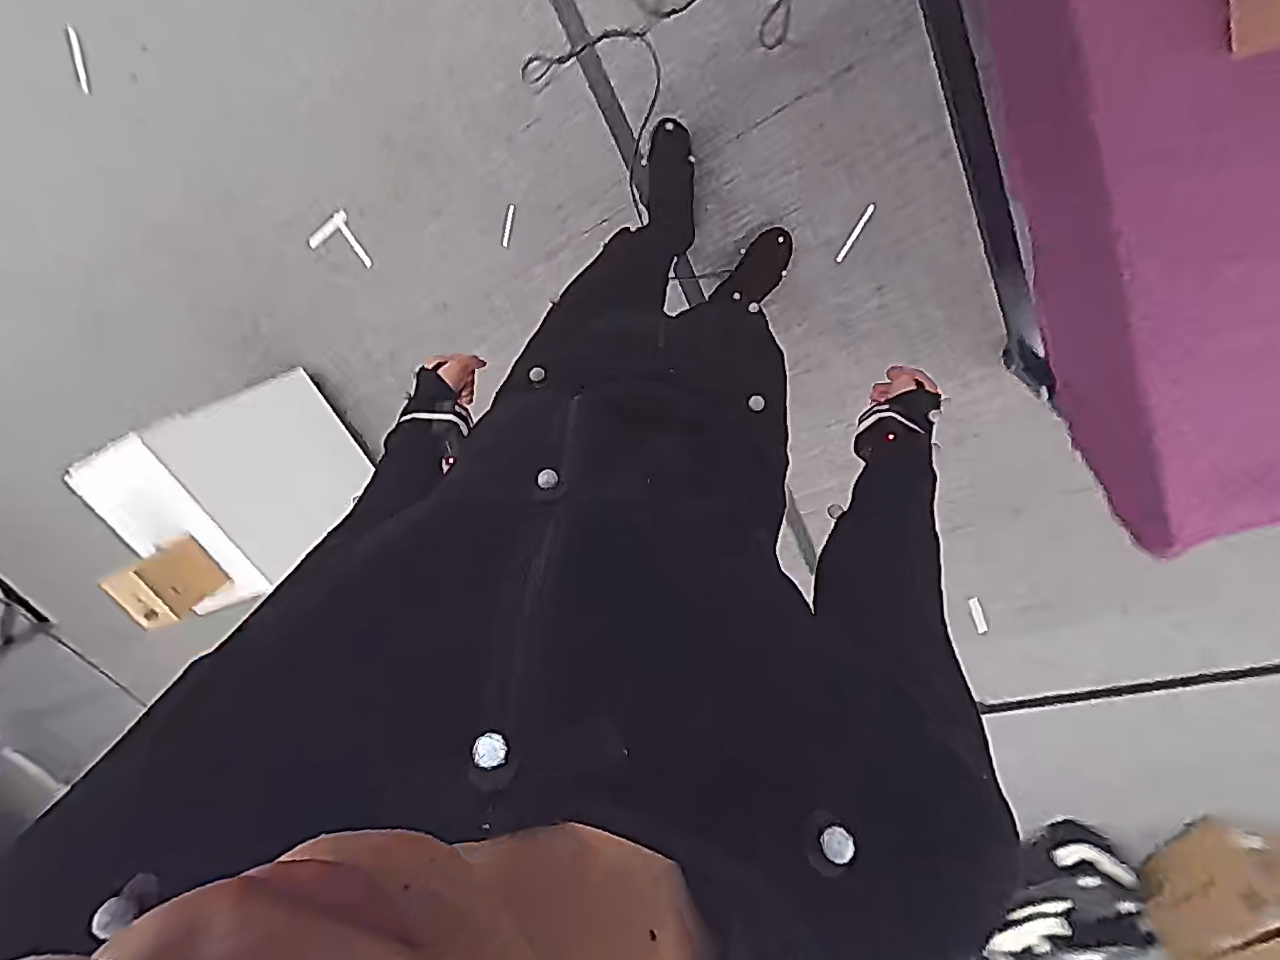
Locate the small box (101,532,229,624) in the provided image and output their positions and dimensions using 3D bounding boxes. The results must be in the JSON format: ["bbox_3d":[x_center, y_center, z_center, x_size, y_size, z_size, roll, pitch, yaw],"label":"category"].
[{"bbox_3d":[-1.305,0.271,1.502,0.168,0.176,0.179,-16,113,22],"label":"small box"}]
